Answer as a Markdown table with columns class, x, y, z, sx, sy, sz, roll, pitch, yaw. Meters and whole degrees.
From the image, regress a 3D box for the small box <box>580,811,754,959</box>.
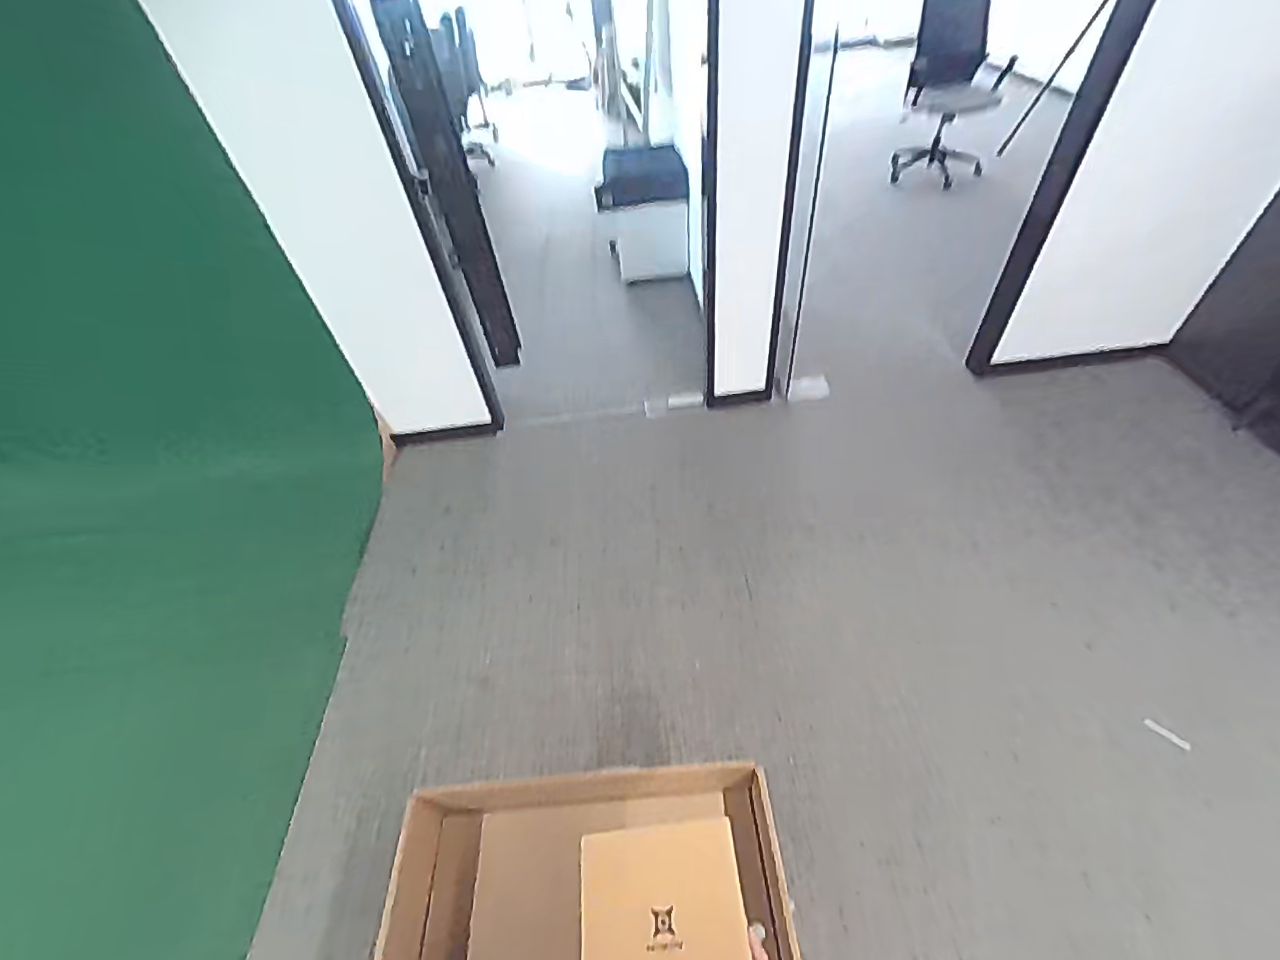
| class | x | y | z | sx | sy | sz | roll | pitch | yaw |
| --- | --- | --- | --- | --- | --- | --- | --- | --- | --- |
| small box | 0.030 | 0.483 | 0.582 | 0.168 | 0.176 | 0.179 | -8 | 47 | 1 |
